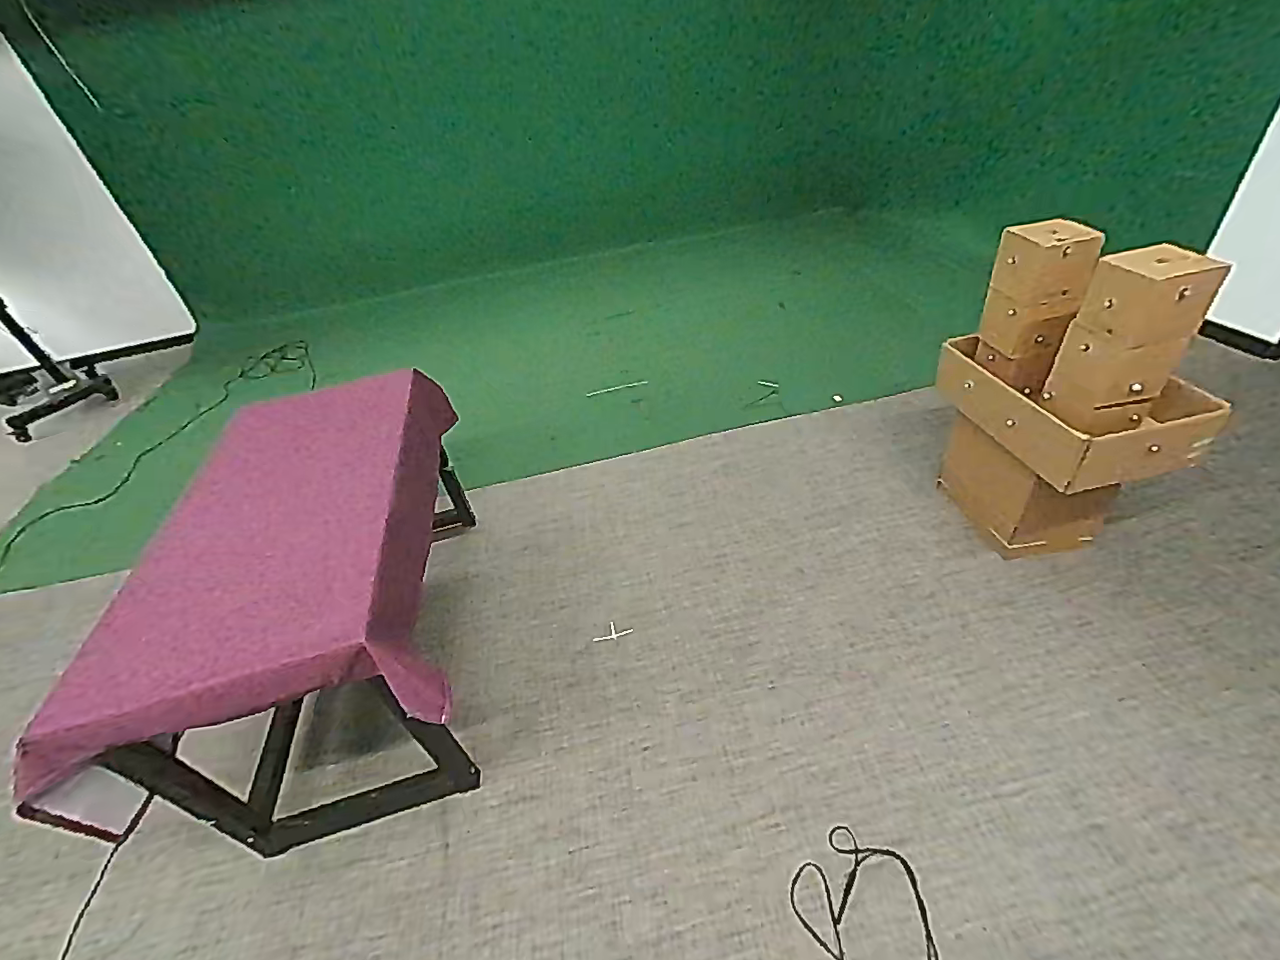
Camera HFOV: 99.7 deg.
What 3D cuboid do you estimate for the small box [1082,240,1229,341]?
[{"bbox_3d":[1.208,-0.449,1.291,0.179,0.176,0.168,-12,40,-1],"label":"small box"}]

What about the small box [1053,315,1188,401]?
[{"bbox_3d":[1.226,-0.326,1.399,0.168,0.176,0.179,-11,40,1],"label":"small box"}]

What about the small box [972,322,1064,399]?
[{"bbox_3d":[1.207,-0.382,1.738,0.168,0.176,0.179,-12,40,0],"label":"small box"}]

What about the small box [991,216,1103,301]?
[{"bbox_3d":[1.137,-0.626,1.531,0.168,0.176,0.179,-12,39,1],"label":"small box"}]
